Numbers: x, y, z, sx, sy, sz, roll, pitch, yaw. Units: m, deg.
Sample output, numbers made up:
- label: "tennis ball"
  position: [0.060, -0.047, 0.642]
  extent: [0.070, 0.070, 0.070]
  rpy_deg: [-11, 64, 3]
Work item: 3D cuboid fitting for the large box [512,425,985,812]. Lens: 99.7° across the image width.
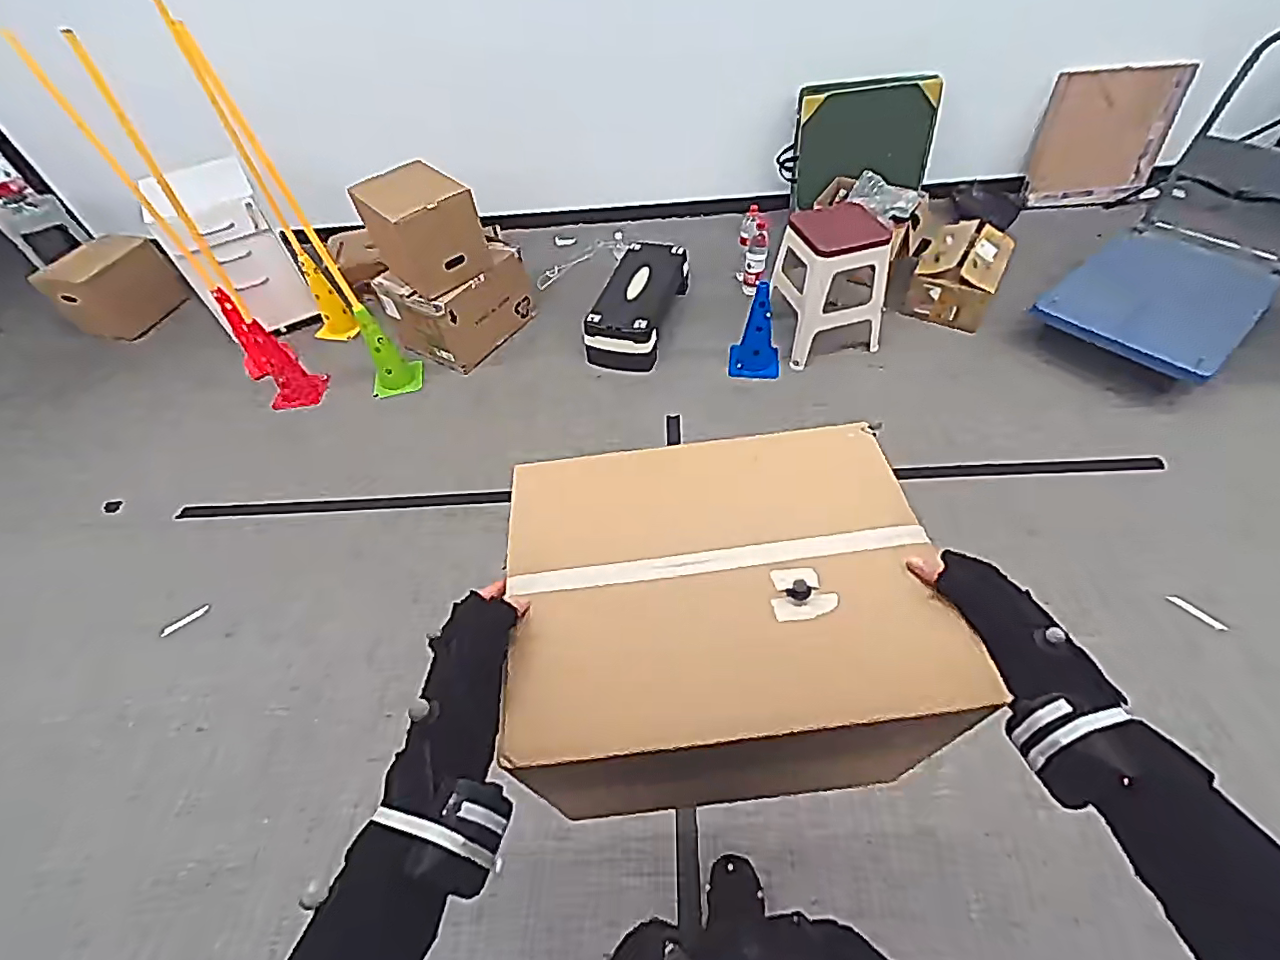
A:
- label: "large box"
  position: [0.083, 0.172, 0.648]
  extent: [0.408, 0.320, 0.320]
  rpy_deg: [-7, 51, -1]
